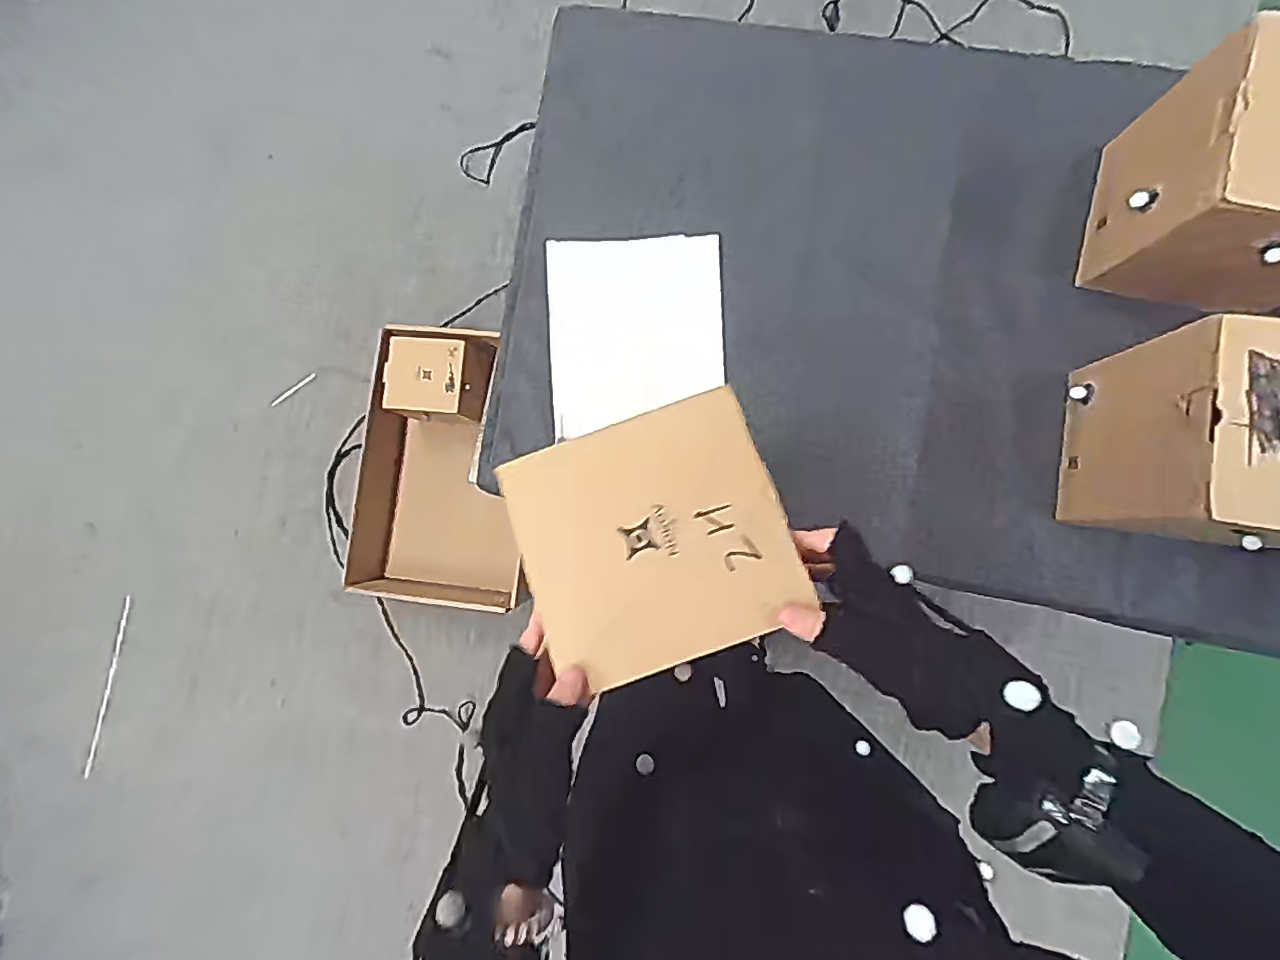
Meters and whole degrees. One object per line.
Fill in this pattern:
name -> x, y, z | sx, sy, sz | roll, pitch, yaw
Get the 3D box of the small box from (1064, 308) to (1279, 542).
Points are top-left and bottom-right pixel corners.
small box -> 0.530, -0.035, 0.488 | 0.179, 0.176, 0.168 | 8, 86, 5
